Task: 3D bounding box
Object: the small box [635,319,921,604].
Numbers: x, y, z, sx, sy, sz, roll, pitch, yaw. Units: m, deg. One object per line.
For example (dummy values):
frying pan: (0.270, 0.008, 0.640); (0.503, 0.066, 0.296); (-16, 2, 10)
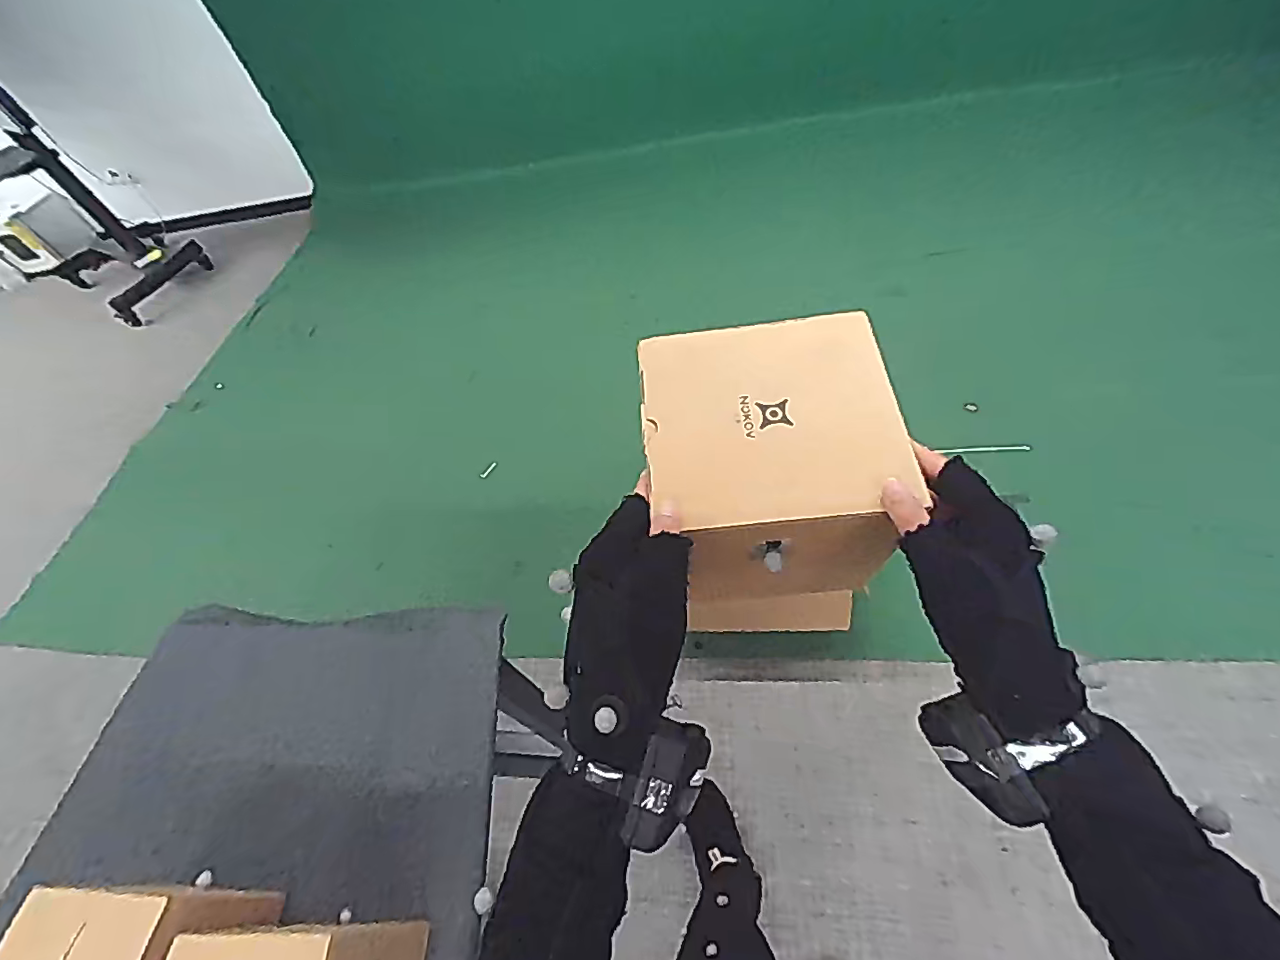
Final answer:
small box: (0.095, -0.004, 0.446); (0.179, 0.176, 0.168); (-7, 61, 5)
